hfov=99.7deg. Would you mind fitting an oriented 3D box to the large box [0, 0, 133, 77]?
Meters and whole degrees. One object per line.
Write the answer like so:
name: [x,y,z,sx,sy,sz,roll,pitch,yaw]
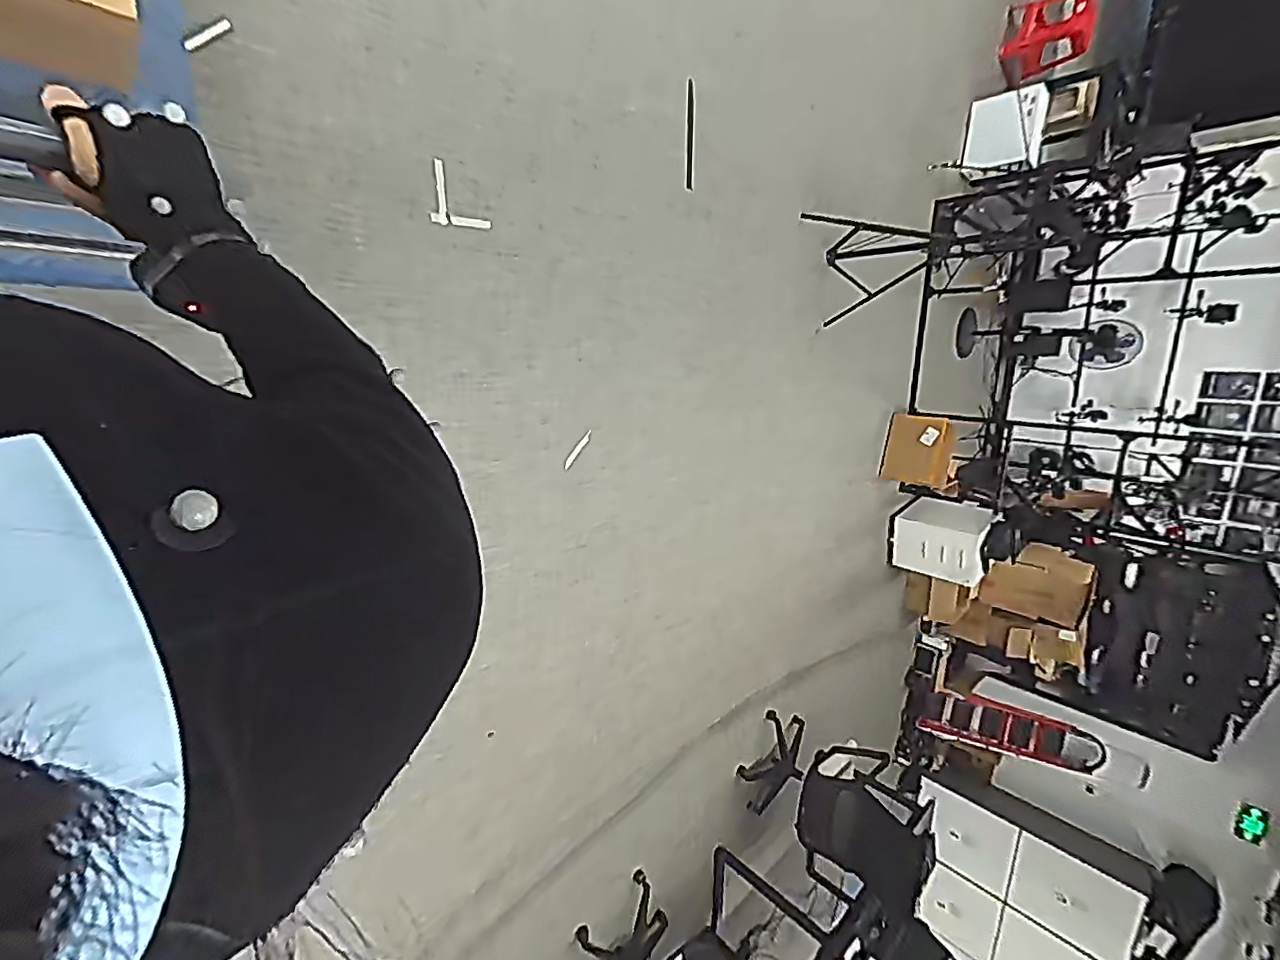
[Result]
large box: [-0.905,-0.769,0.645,0.408,0.320,0.320,-9,106,-42]
